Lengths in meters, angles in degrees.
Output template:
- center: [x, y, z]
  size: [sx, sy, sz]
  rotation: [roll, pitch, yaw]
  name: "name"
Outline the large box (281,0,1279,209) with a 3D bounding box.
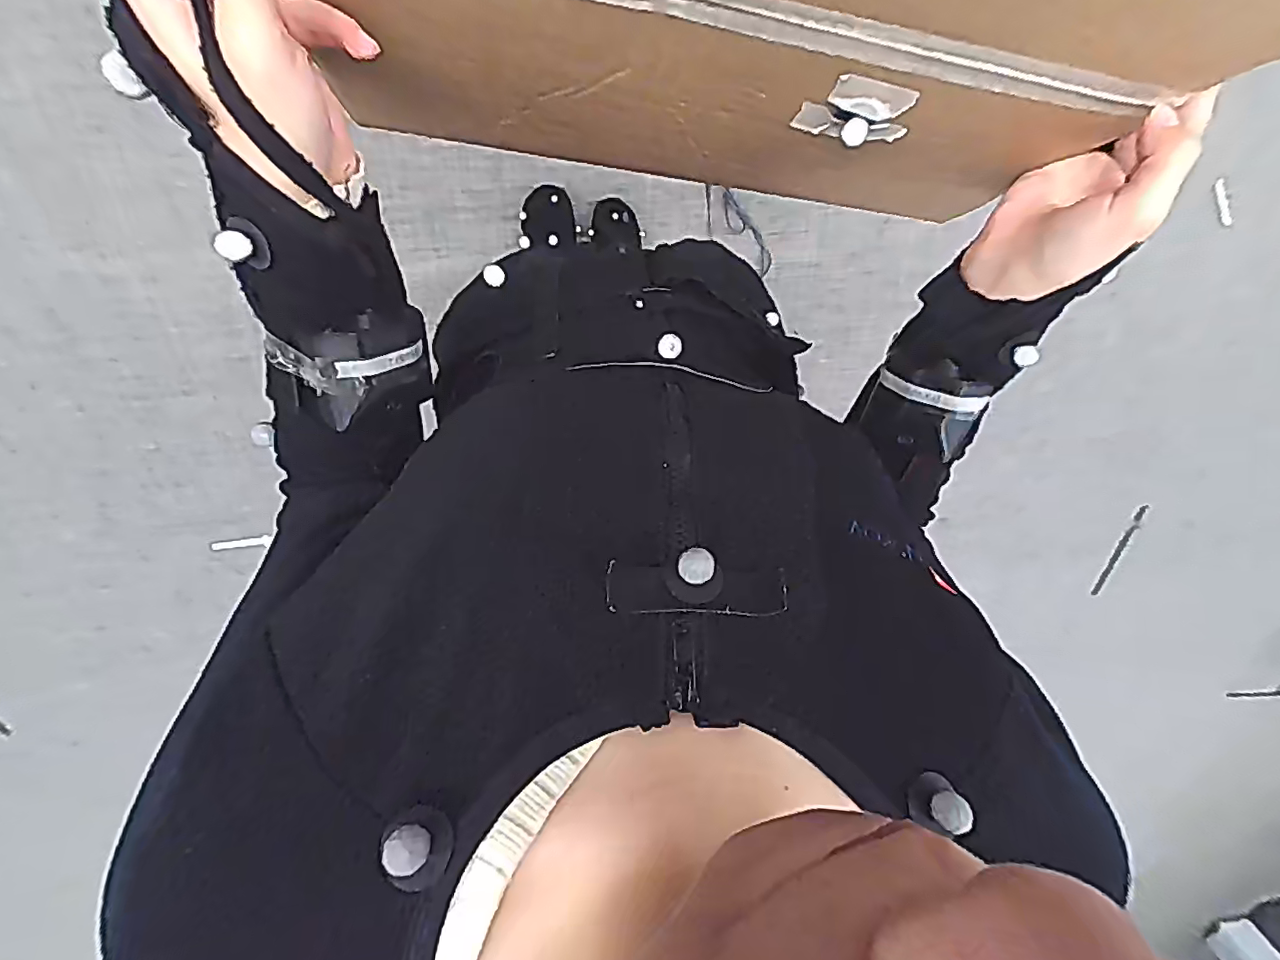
- center: [0.056, -0.343, 0.204]
  size: [0.408, 0.320, 0.320]
  rotation: [3, 97, -10]
  name: "large box"
